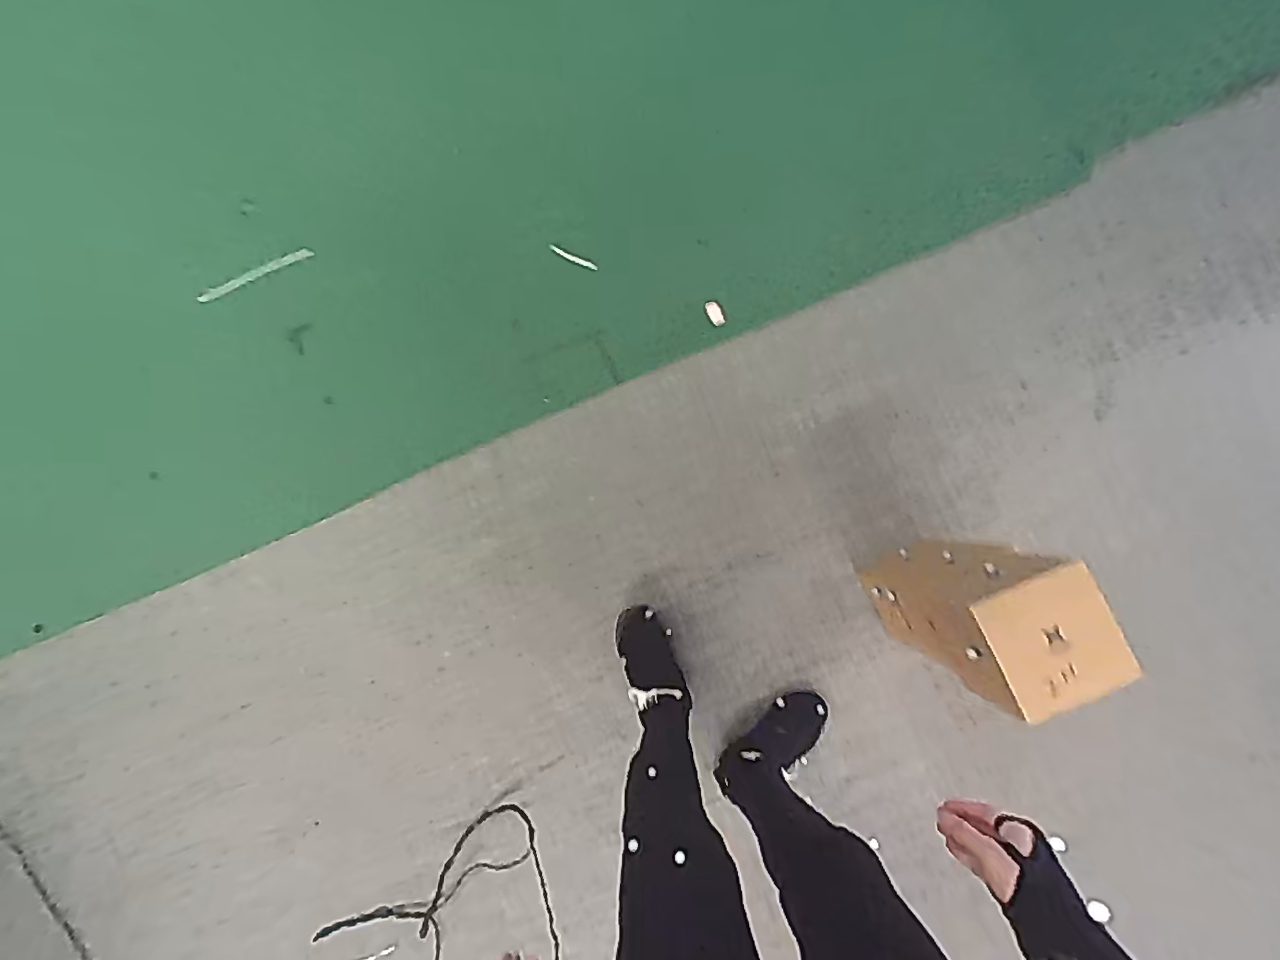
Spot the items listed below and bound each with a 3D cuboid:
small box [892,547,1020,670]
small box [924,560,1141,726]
[{"bbox_3d":[0.585,0.231,0.975,0.179,0.176,0.168,-25,84,1],"label":"small box"},{"bbox_3d":[0.566,0.228,0.810,0.168,0.176,0.179,-24,85,2],"label":"small box"}]
